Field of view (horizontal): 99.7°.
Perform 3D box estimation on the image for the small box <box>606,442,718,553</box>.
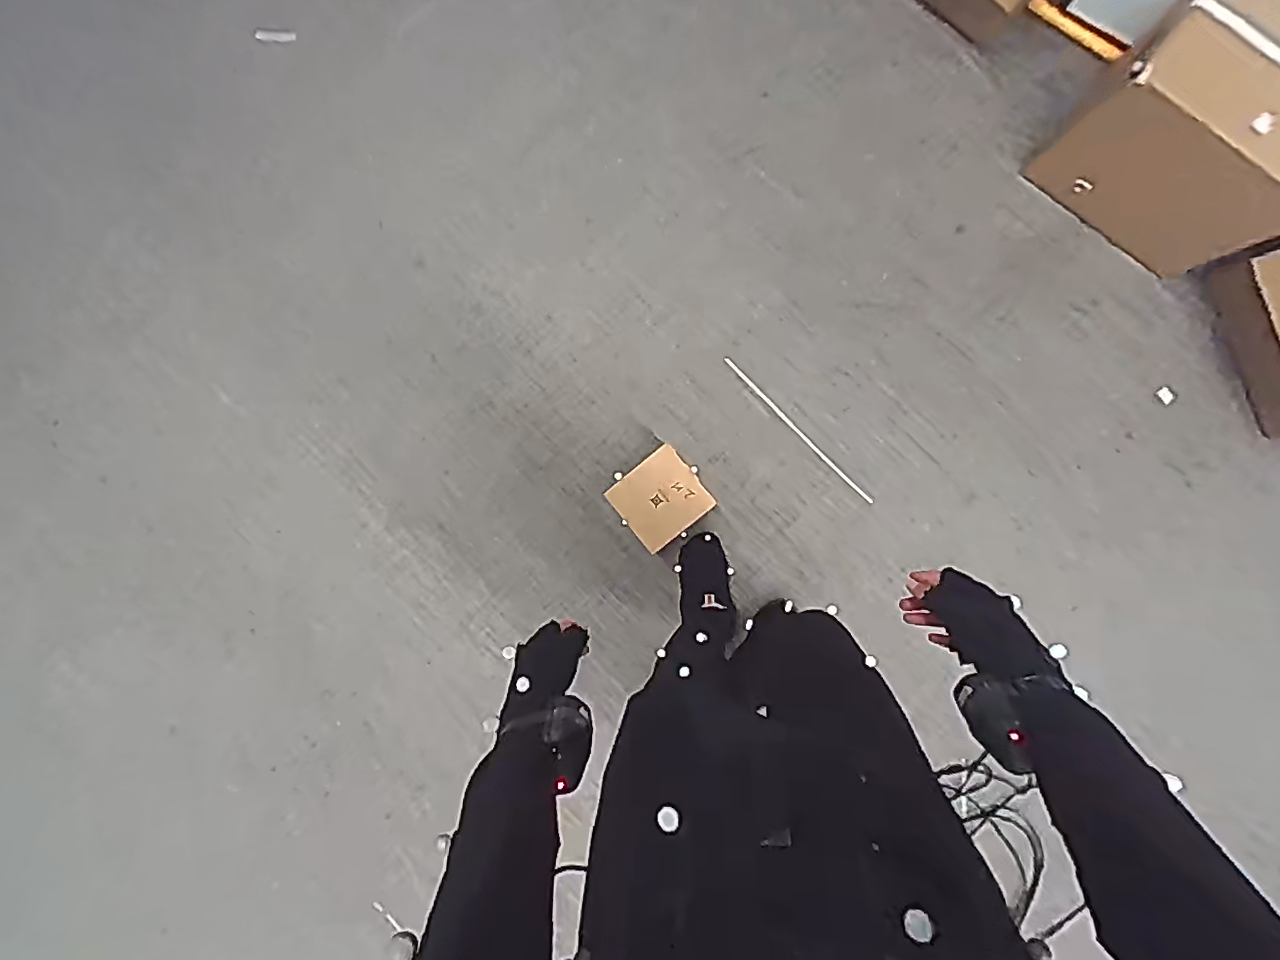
[{"bbox_3d":[0.051,0.036,1.190,0.179,0.176,0.168,-39,89,3],"label":"small box"}]
